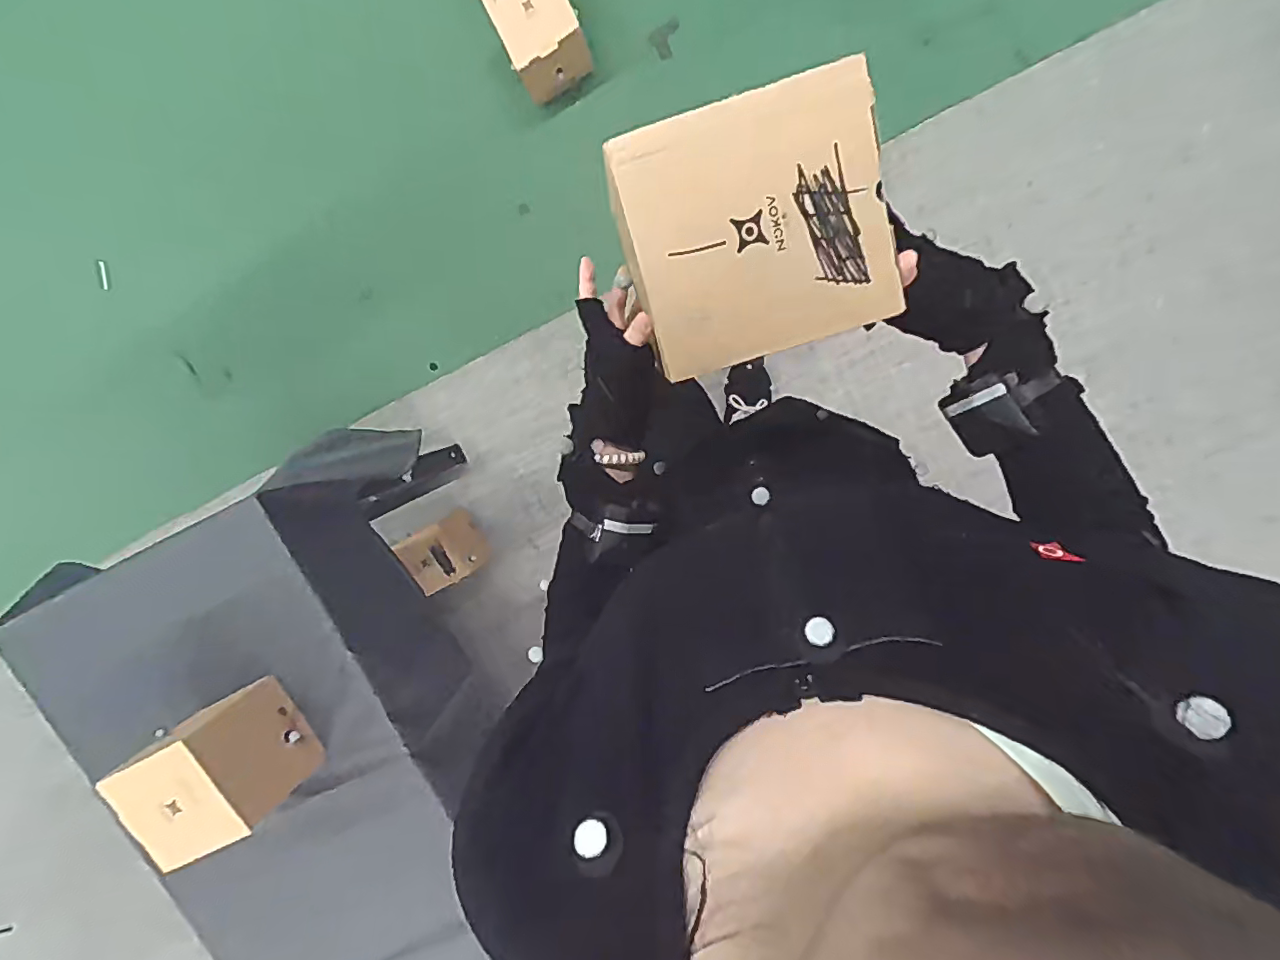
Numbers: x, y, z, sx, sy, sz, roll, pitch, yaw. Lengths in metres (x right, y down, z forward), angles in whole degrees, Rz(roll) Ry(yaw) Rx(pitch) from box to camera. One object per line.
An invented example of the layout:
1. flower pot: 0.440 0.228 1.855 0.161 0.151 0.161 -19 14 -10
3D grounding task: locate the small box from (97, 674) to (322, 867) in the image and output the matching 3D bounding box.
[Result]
1. small box: -0.645 0.436 0.833 0.179 0.176 0.168 -27 99 11

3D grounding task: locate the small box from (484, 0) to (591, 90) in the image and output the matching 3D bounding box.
1. small box: -0.228 -1.028 1.221 0.168 0.176 0.179 -25 99 11
